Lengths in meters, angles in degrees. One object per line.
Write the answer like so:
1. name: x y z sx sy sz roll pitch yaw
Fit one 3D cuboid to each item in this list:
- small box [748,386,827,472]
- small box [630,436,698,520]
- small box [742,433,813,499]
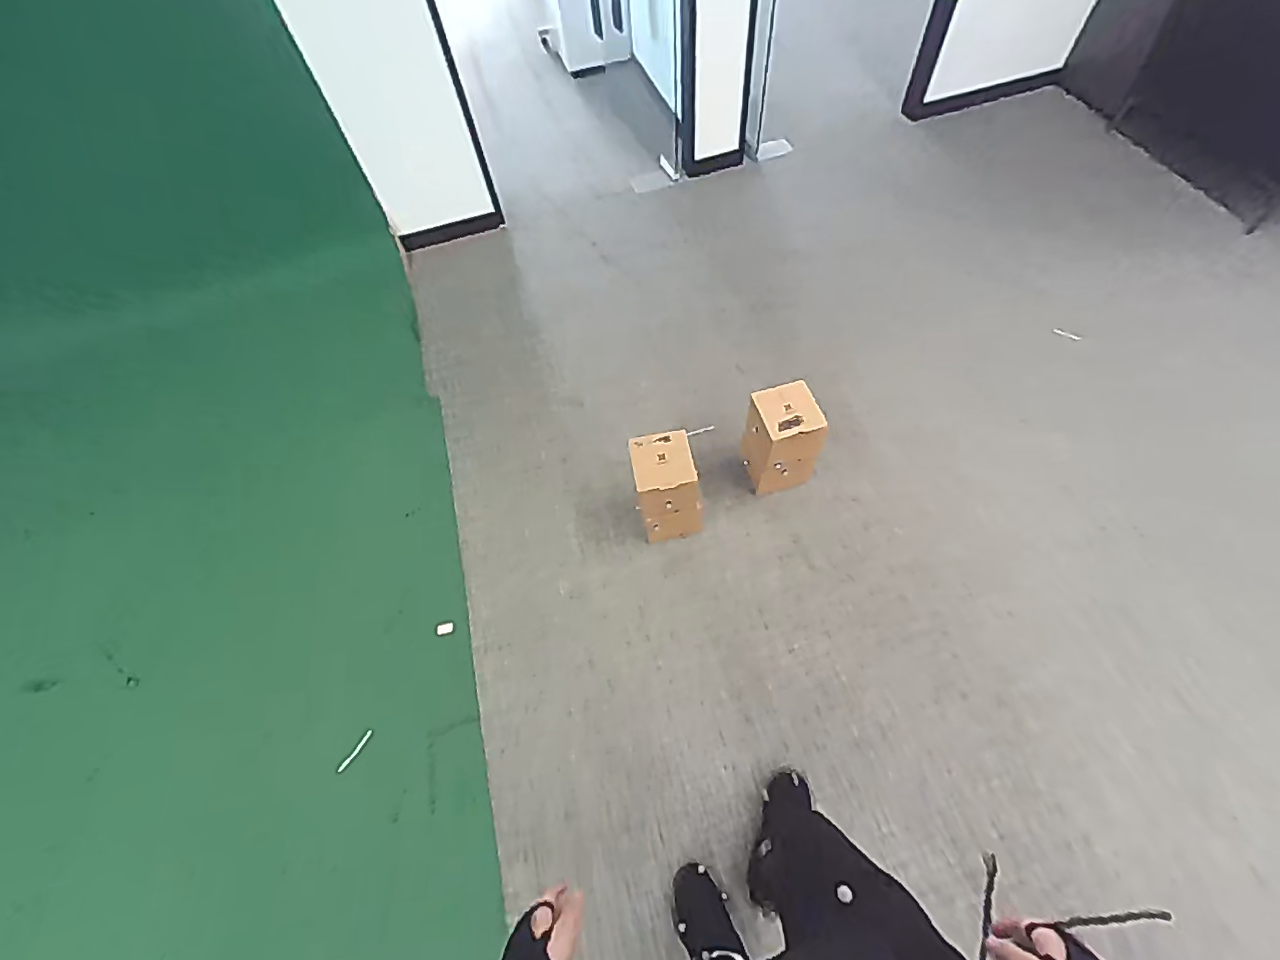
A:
1. small box: 0.427 -0.142 1.593 0.168 0.176 0.179 -15 59 -3
2. small box: 0.071 0.002 1.541 0.168 0.176 0.179 -10 59 -1
3. small box: 0.436 -0.061 1.735 0.179 0.176 0.168 -16 60 -4
